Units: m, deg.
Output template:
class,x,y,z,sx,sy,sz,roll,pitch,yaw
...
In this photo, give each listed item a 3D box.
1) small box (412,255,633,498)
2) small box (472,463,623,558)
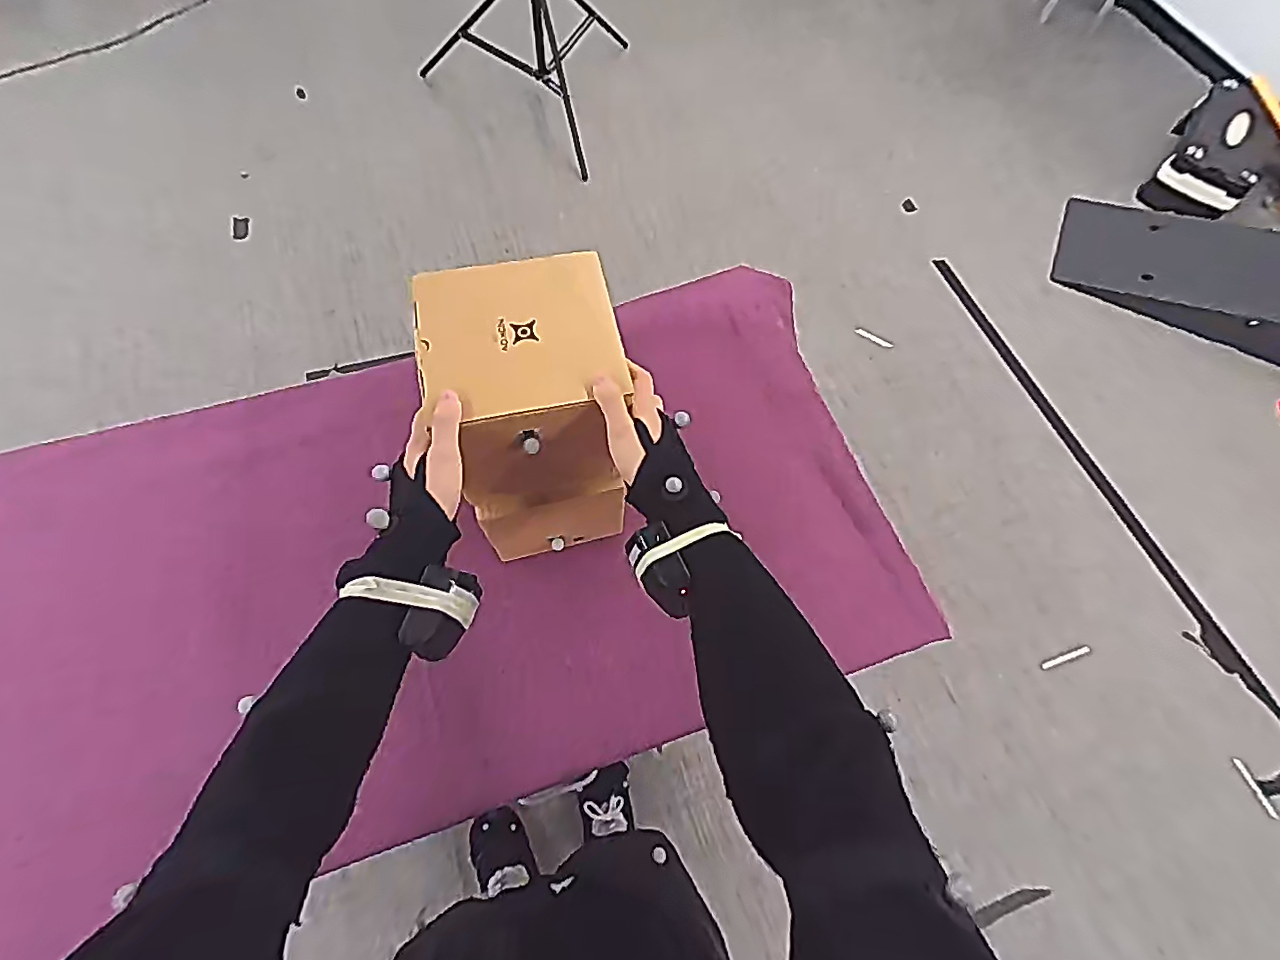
class,x,y,z,sx,sy,sz,roll,pitch,yaw
small box,-0.112,-0.096,0.551,0.179,0.176,0.168,-12,68,-8
small box,-0.124,-0.018,0.694,0.168,0.176,0.179,-13,69,-9
